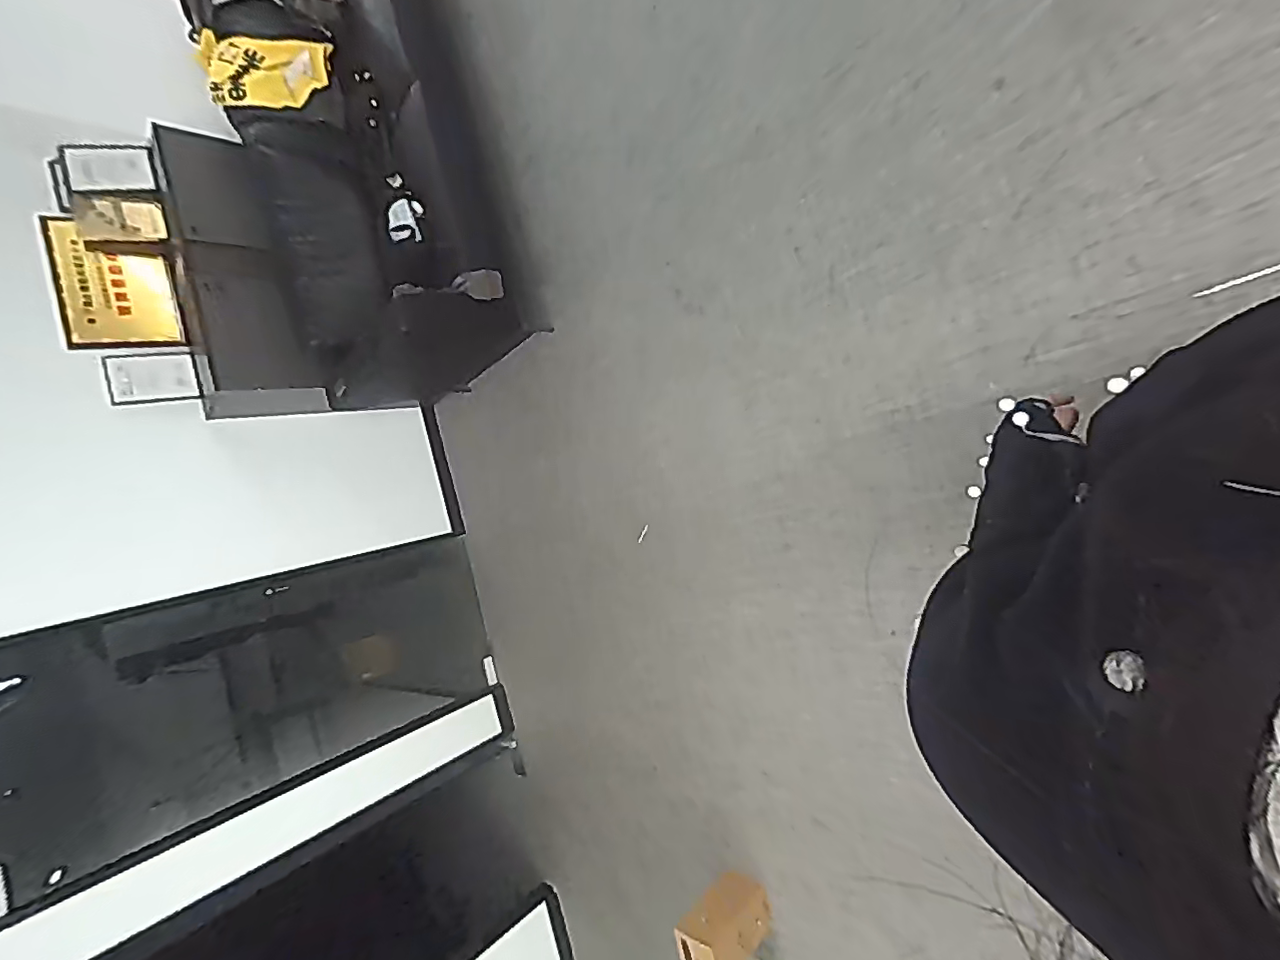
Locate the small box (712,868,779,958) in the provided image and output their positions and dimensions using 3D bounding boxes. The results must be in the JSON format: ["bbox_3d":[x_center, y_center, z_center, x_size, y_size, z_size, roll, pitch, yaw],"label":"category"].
[{"bbox_3d":[0.401,1.605,2.019,0.179,0.176,0.168,-9,92,46],"label":"small box"}]
